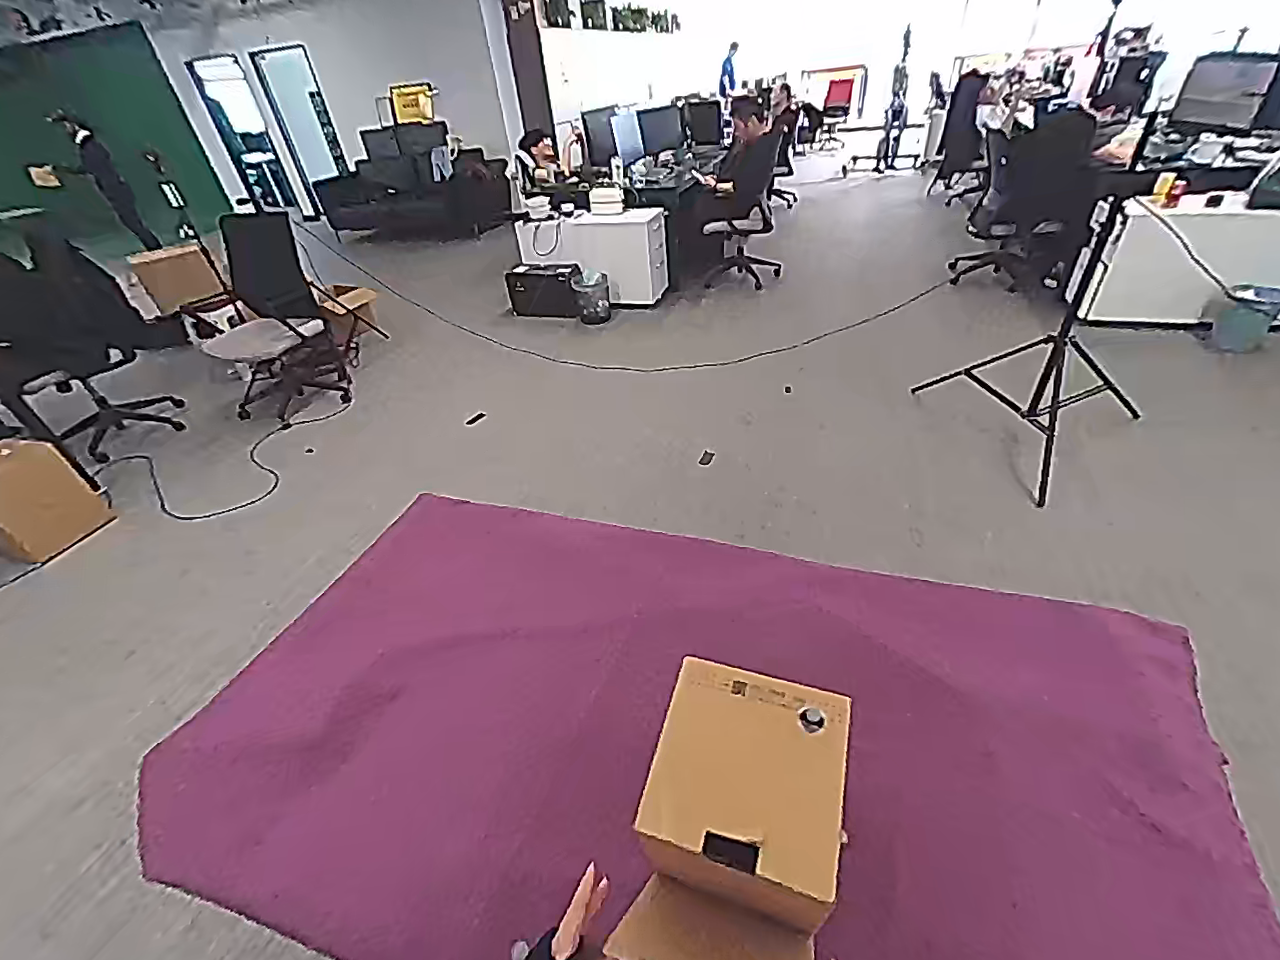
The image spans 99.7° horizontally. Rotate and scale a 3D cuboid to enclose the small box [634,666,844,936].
[{"bbox_3d":[0.105,0.313,0.543,0.168,0.179,0.176,9,47,19],"label":"small box"}]
